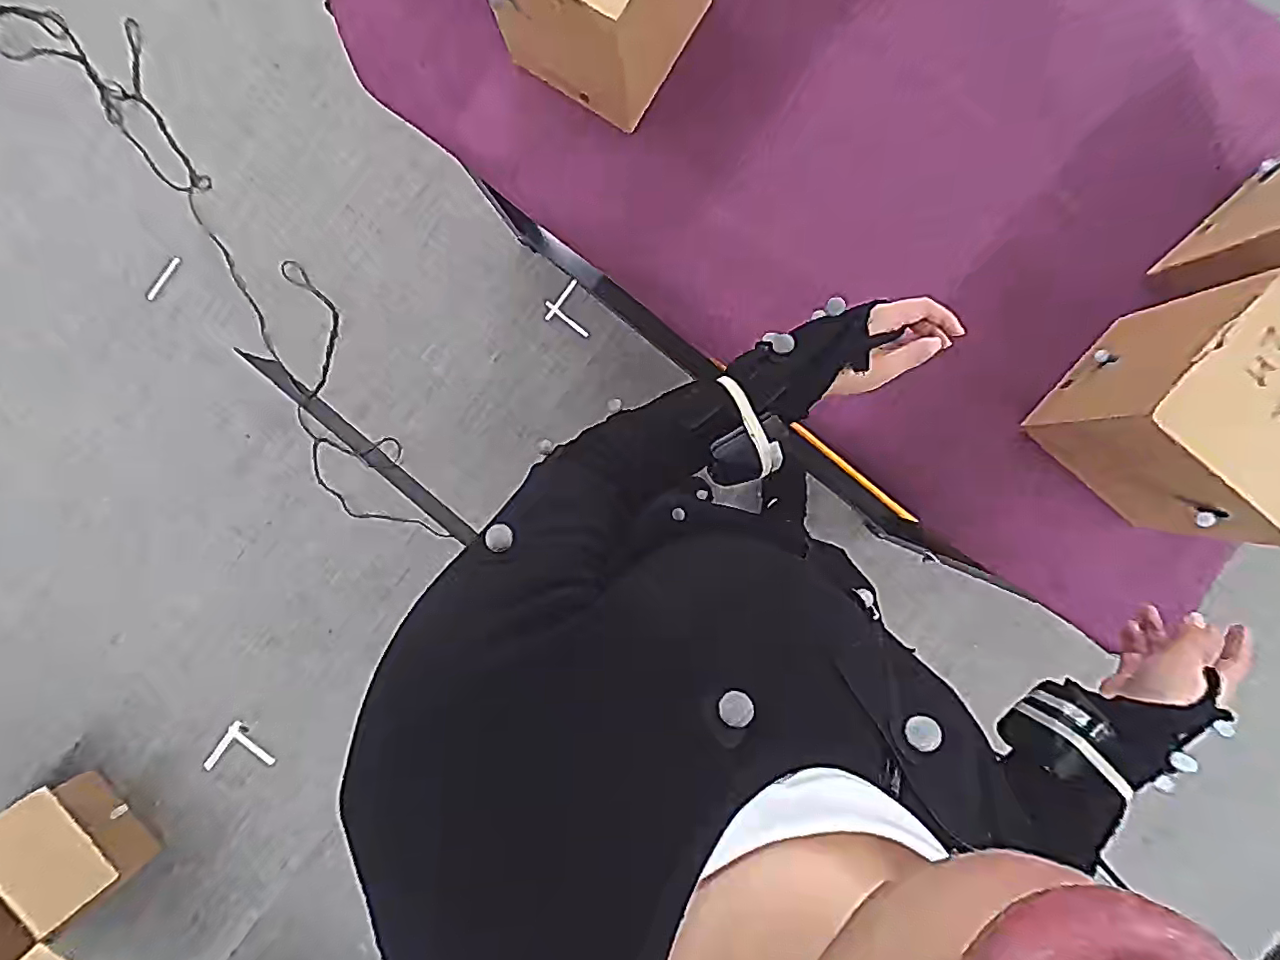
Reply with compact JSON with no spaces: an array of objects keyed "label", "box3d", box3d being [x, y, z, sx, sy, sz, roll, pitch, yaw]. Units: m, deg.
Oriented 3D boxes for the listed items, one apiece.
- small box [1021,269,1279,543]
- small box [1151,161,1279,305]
[{"label":"small box","box3d":[0.542,-0.065,0.534,0.179,0.176,0.168,41,93,1]},{"label":"small box","box3d":[0.669,-0.220,0.516,0.168,0.176,0.179,-44,91,7]}]
